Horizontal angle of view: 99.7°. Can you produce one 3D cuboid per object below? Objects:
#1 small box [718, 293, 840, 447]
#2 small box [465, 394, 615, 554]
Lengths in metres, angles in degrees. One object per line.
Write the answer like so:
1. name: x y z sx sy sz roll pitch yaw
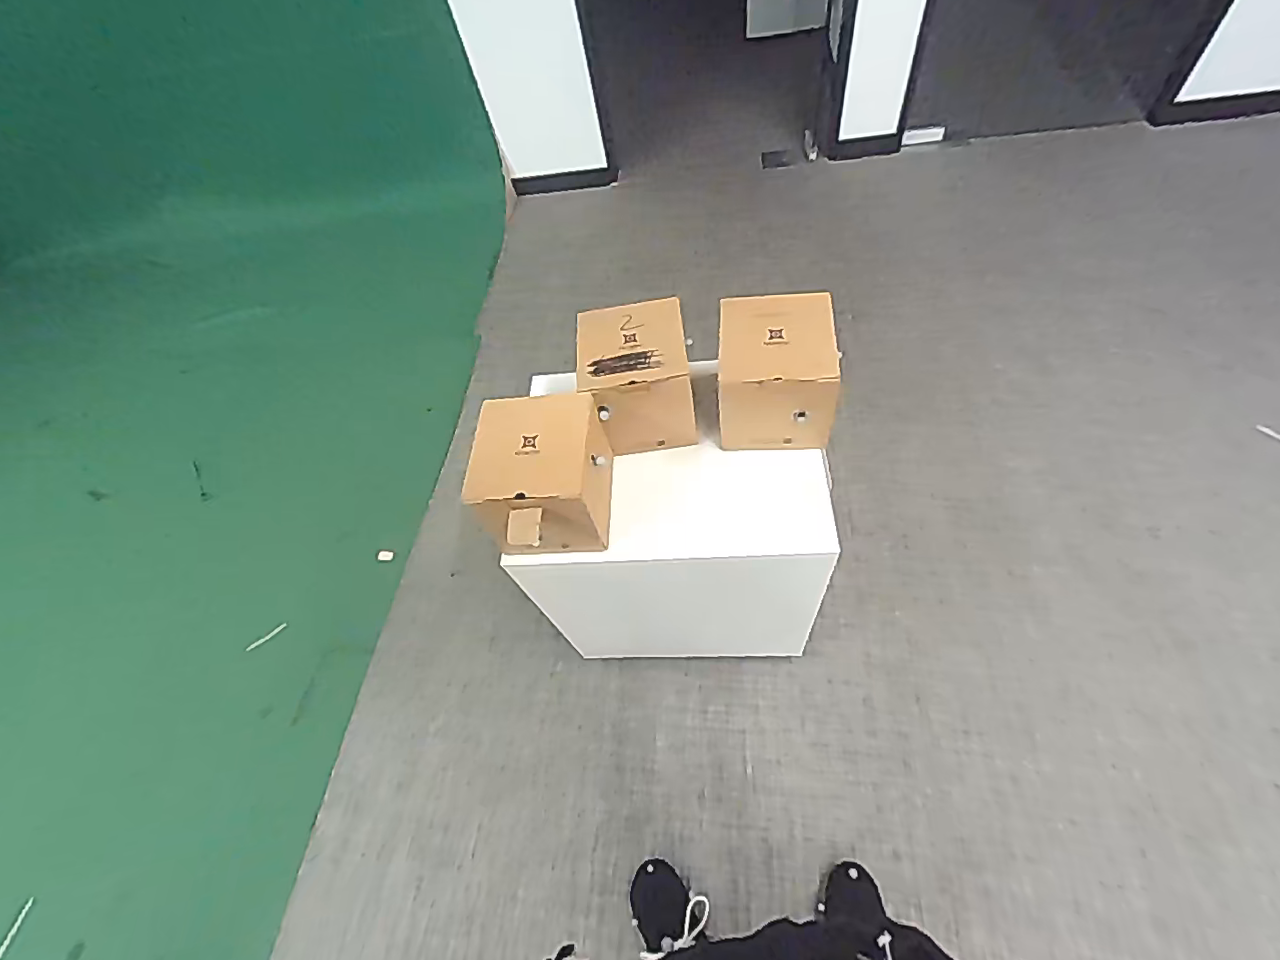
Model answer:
1. small box: 0.210 -0.163 0.846 0.168 0.176 0.179 0 57 10
2. small box: -0.135 -0.005 0.806 0.168 0.176 0.179 -3 57 8
